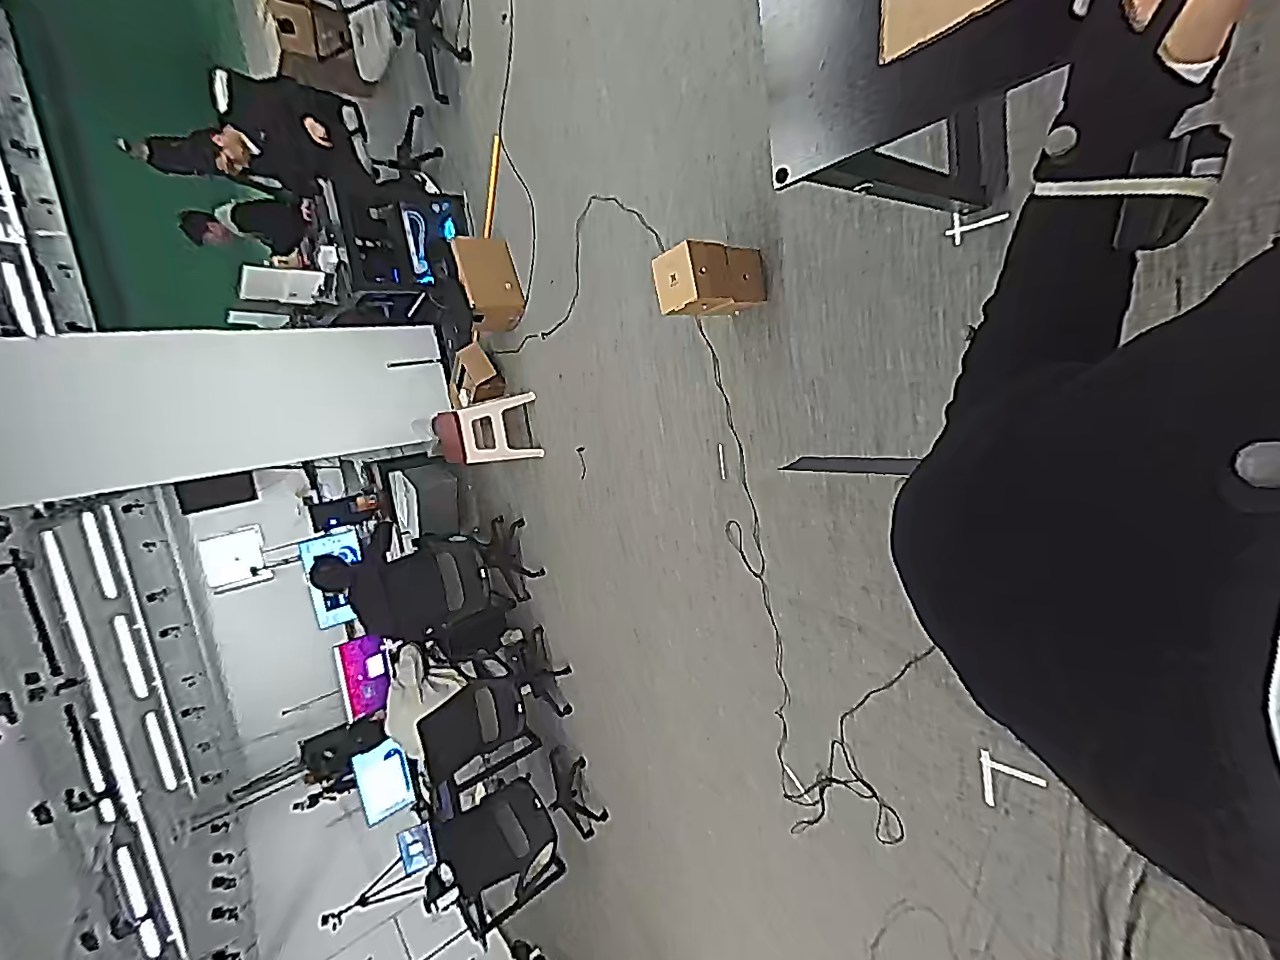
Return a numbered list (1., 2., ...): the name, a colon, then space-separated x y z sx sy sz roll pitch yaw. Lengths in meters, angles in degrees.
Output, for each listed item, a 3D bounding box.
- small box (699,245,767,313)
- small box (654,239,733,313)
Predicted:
1. small box: 0.298 -0.660 1.792 0.168 0.176 0.179 -2 101 52
2. small box: 0.172 -0.633 1.692 0.168 0.176 0.179 -6 96 52
